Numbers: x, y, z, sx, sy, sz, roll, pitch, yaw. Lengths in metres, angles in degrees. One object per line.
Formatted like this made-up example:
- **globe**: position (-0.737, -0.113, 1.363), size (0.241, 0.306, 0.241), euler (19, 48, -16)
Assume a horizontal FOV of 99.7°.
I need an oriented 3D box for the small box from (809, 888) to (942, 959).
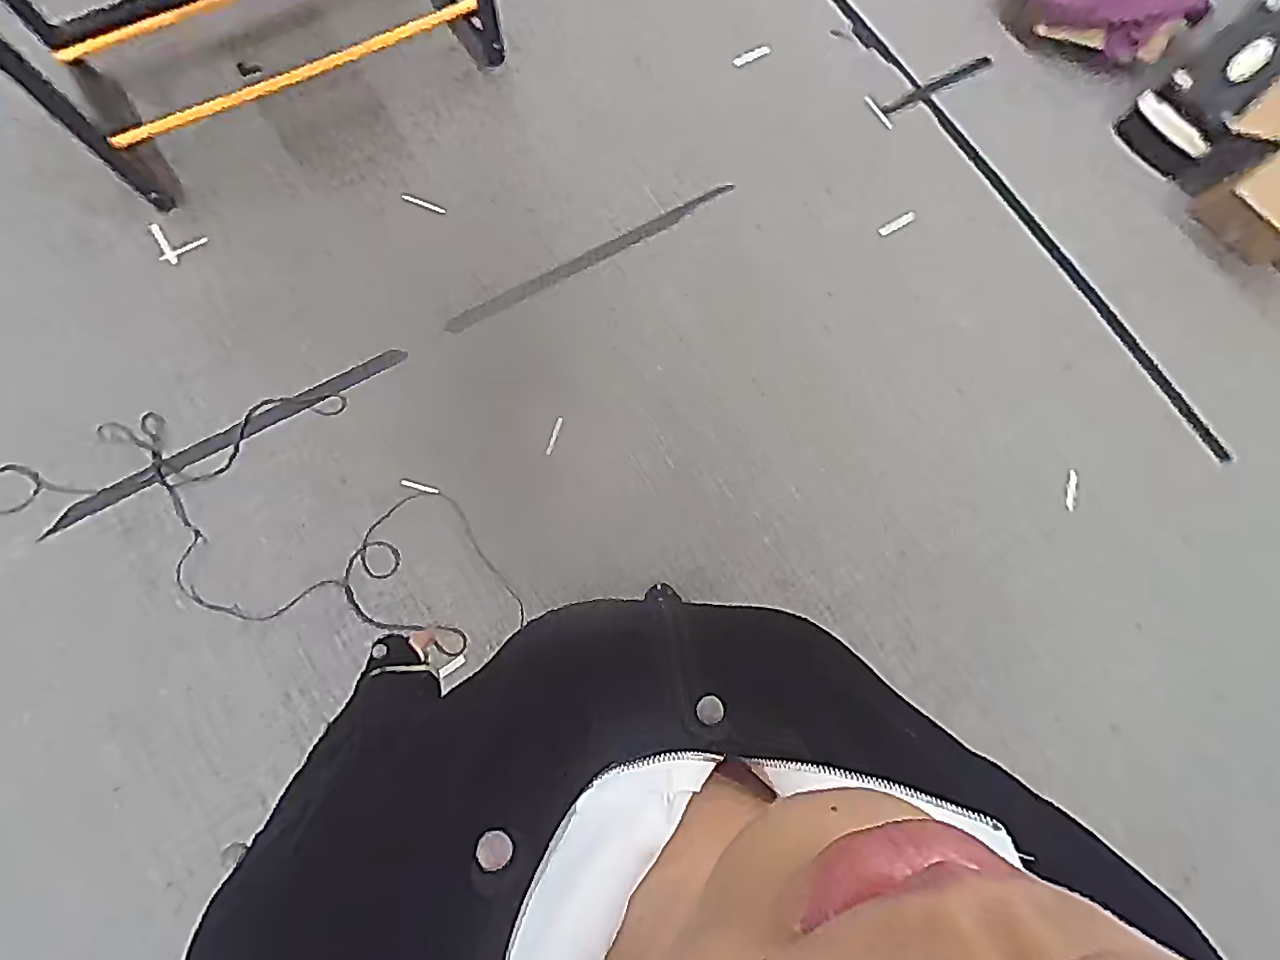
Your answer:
- **small box**: position (0.398, 0.795, 0.836), size (0.168, 0.176, 0.179), euler (-32, 79, -12)
